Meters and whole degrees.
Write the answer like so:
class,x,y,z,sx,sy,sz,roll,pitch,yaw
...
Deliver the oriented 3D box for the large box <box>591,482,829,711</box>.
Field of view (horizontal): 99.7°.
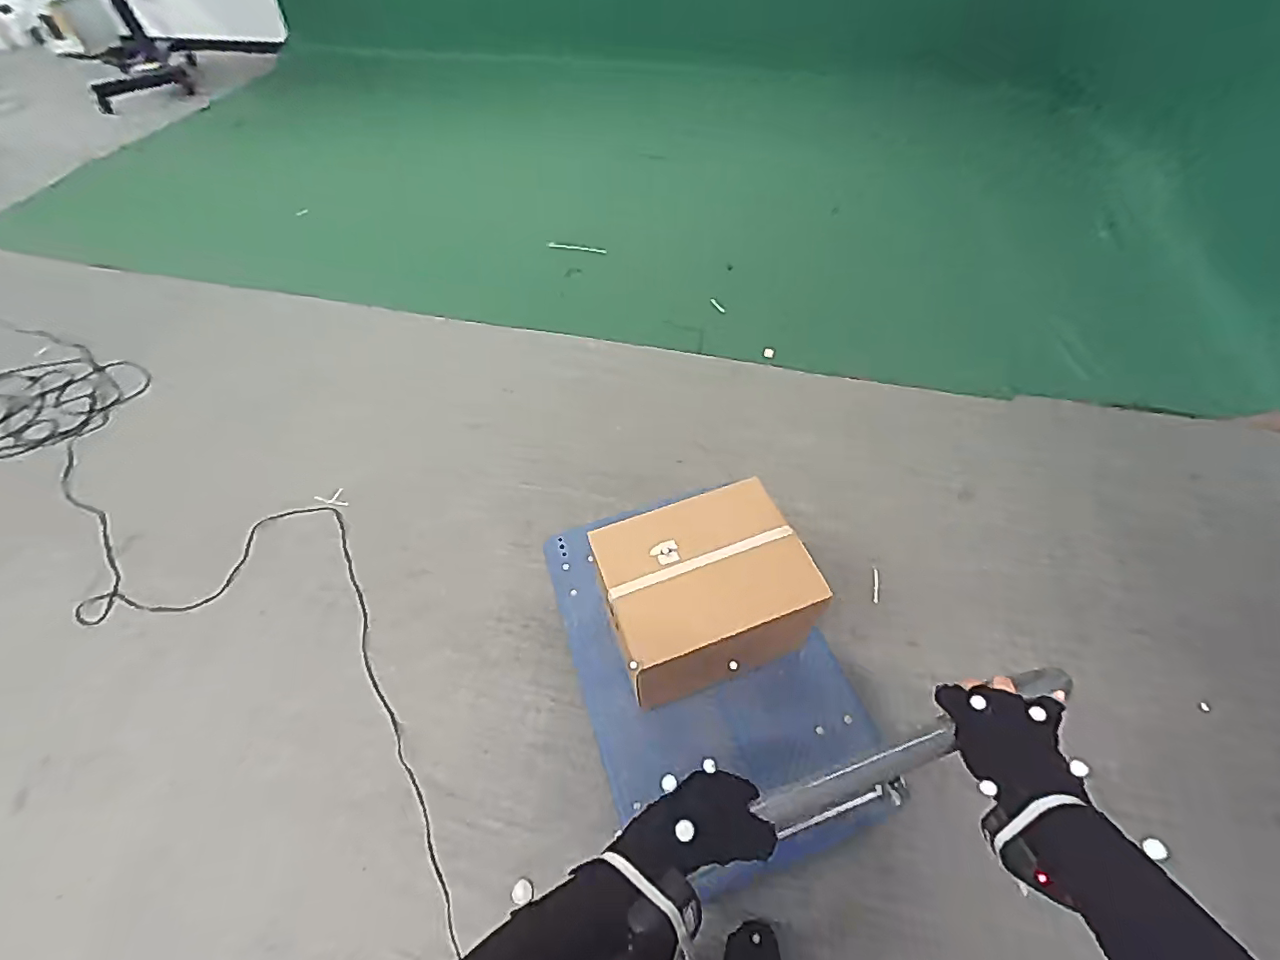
class,x,y,z,sx,sy,sz,roll,pitch,yaw
large box,0.140,0.266,1.219,0.408,0.320,0.320,-19,55,-10
